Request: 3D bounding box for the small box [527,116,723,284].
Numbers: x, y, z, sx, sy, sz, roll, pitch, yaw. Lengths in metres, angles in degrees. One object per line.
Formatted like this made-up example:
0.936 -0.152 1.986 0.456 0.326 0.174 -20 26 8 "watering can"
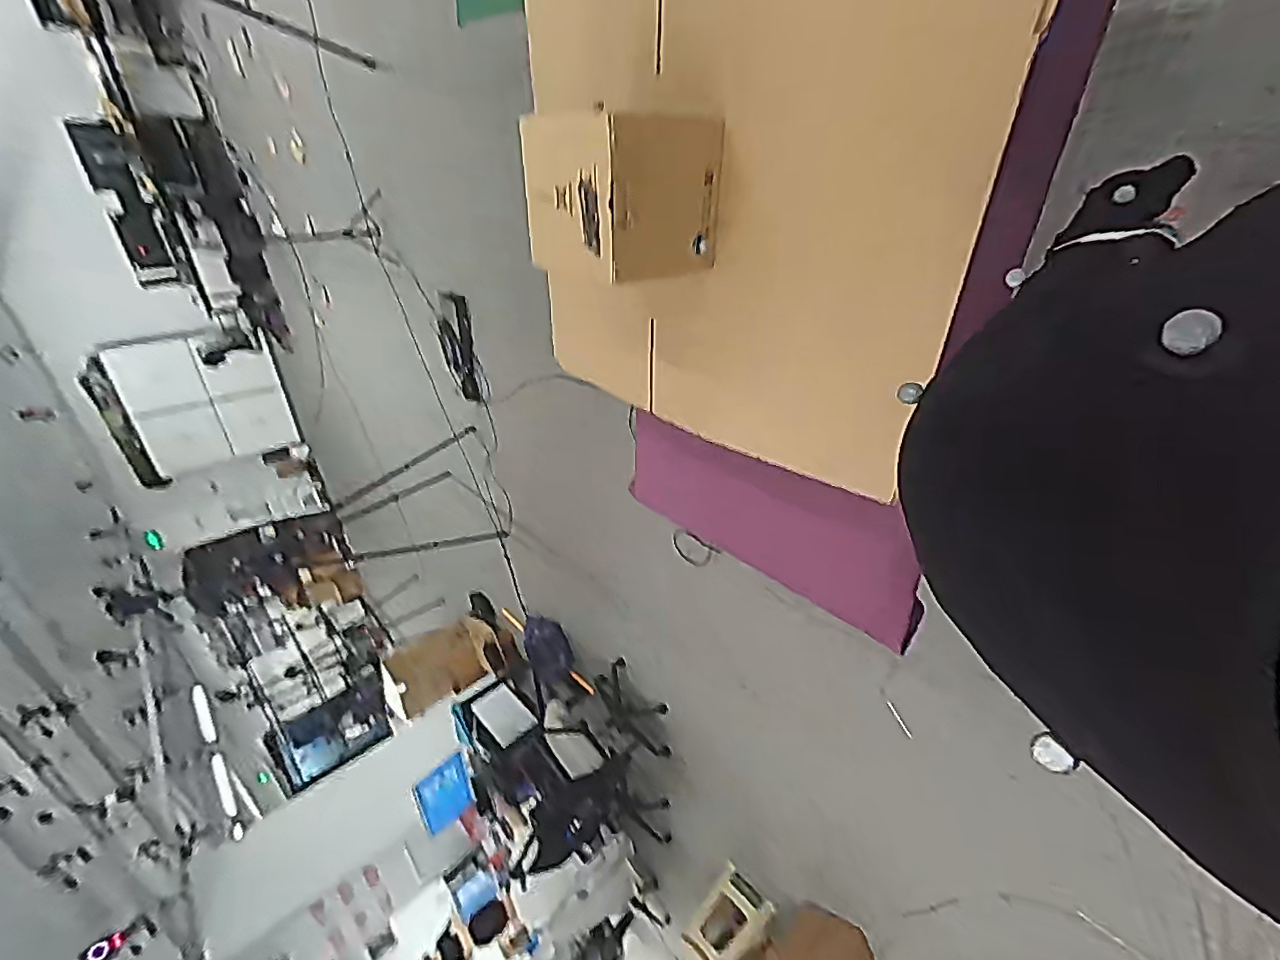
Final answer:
-0.017 -0.352 0.673 0.179 0.176 0.168 31 132 40 "small box"
